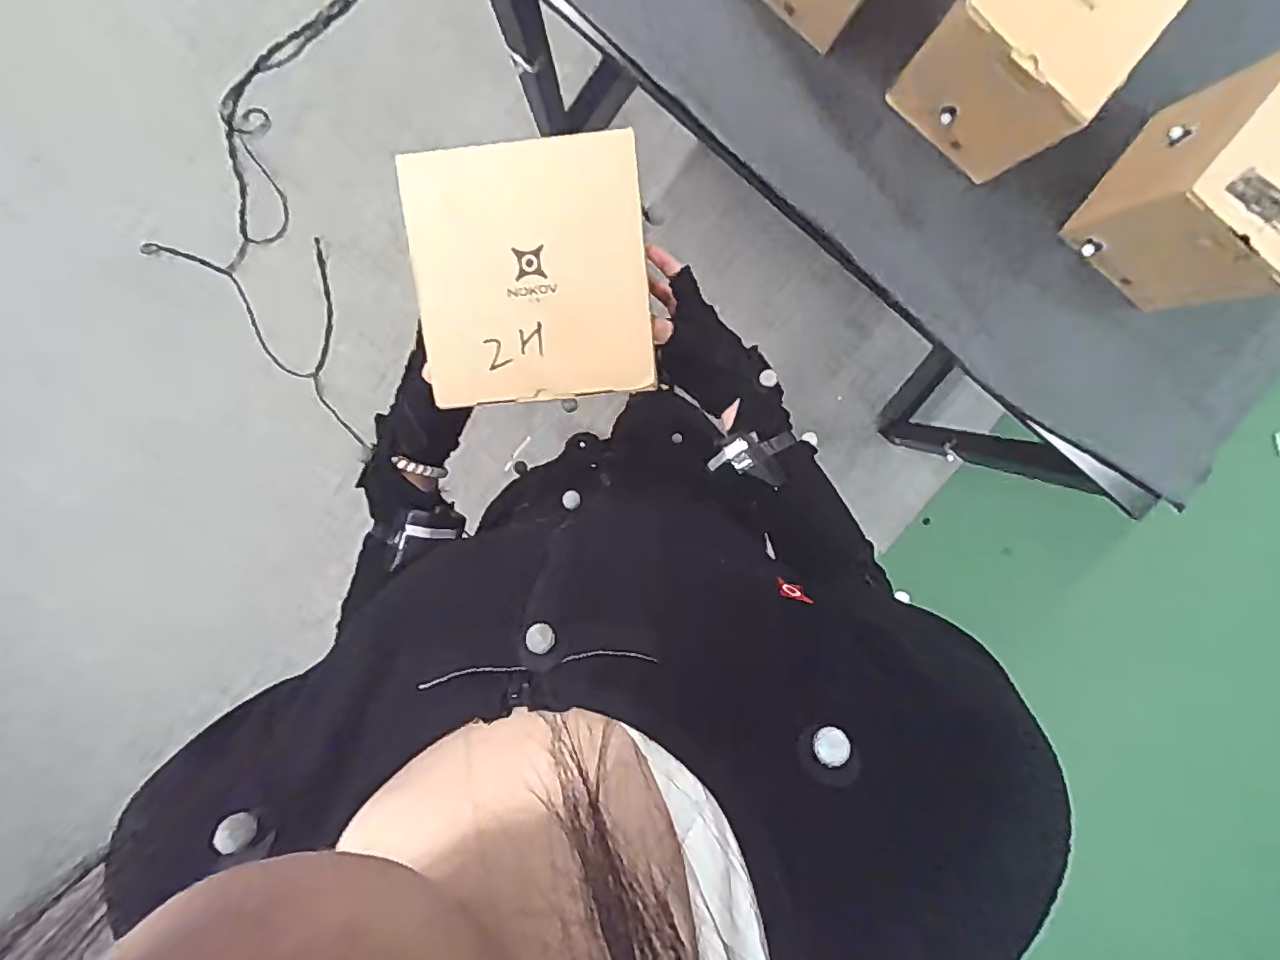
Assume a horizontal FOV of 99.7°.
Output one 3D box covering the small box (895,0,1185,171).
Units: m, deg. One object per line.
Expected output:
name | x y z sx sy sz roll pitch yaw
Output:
small box | 0.417 -0.480 0.577 0.168 0.176 0.179 35 99 -8

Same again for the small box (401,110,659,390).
small box | -0.072 -0.170 0.454 0.168 0.176 0.179 -5 101 3

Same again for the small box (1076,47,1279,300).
small box | 0.653 -0.328 0.610 0.168 0.176 0.179 35 97 -8
